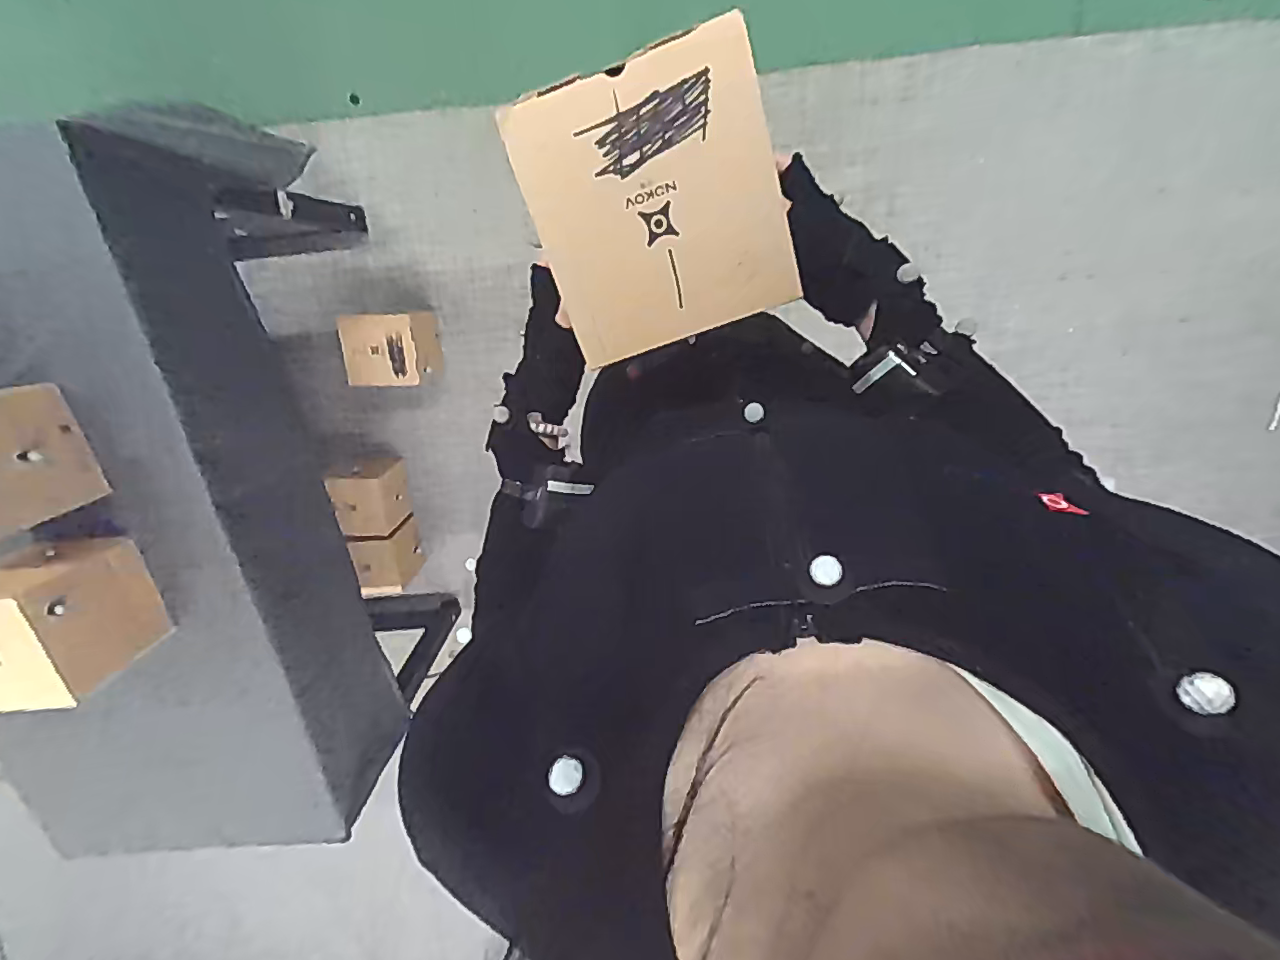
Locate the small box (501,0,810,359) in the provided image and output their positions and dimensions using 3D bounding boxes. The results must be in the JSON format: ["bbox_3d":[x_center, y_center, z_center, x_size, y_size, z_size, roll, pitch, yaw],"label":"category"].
[{"bbox_3d":[0.014,-0.214,0.424,0.168,0.176,0.179,-17,112,7],"label":"small box"}]

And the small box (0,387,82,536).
[{"bbox_3d":[-0.865,-0.014,0.669,0.179,0.176,0.168,-7,109,2],"label":"small box"}]
